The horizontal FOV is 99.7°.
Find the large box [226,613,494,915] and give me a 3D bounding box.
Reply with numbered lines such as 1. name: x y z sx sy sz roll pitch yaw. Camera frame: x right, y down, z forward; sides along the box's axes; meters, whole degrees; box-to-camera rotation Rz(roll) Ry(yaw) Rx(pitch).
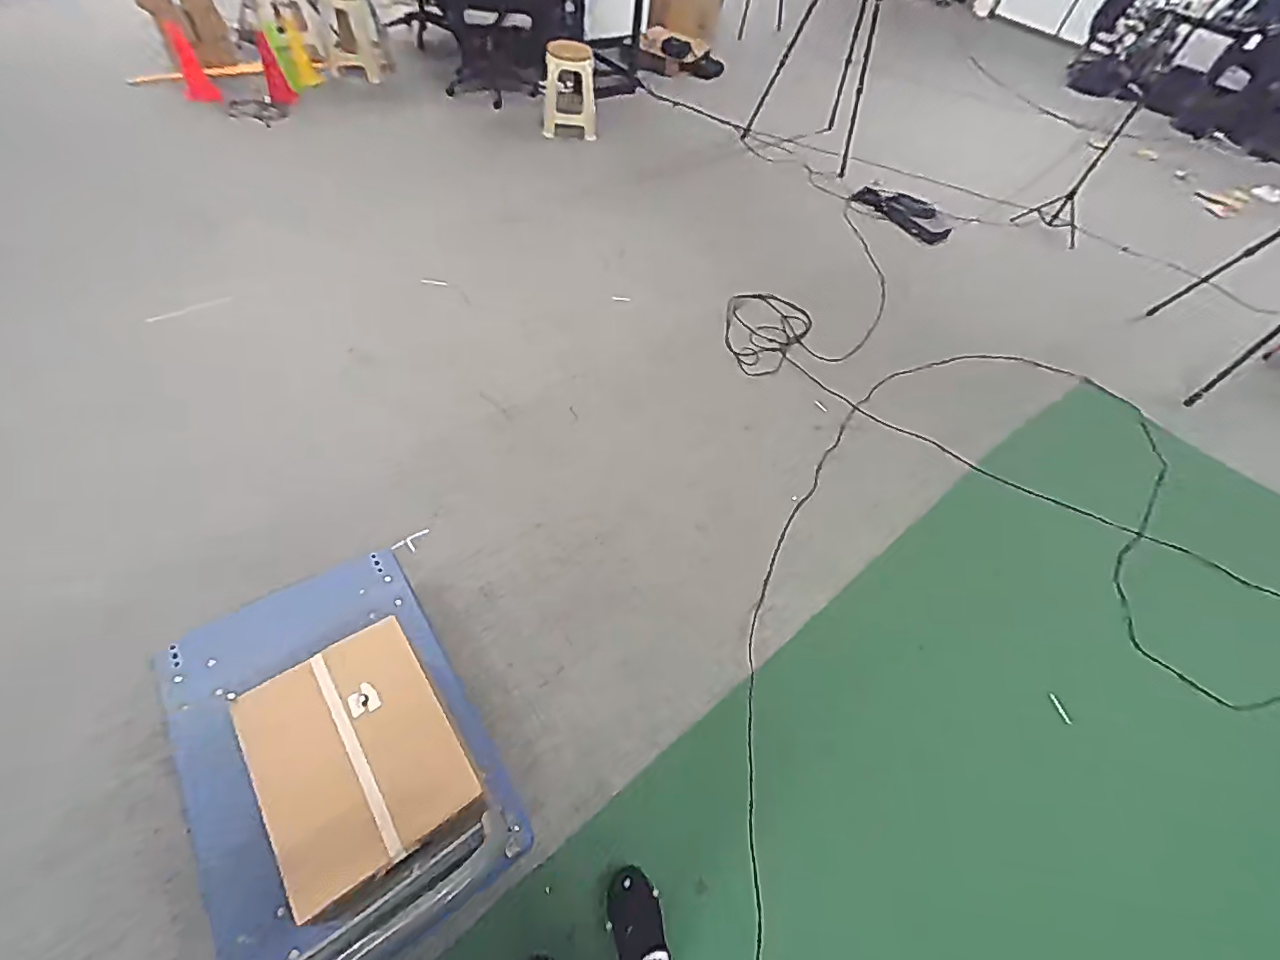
1. large box: -0.540 0.561 1.097 0.320 0.320 0.408 -28 63 -26
